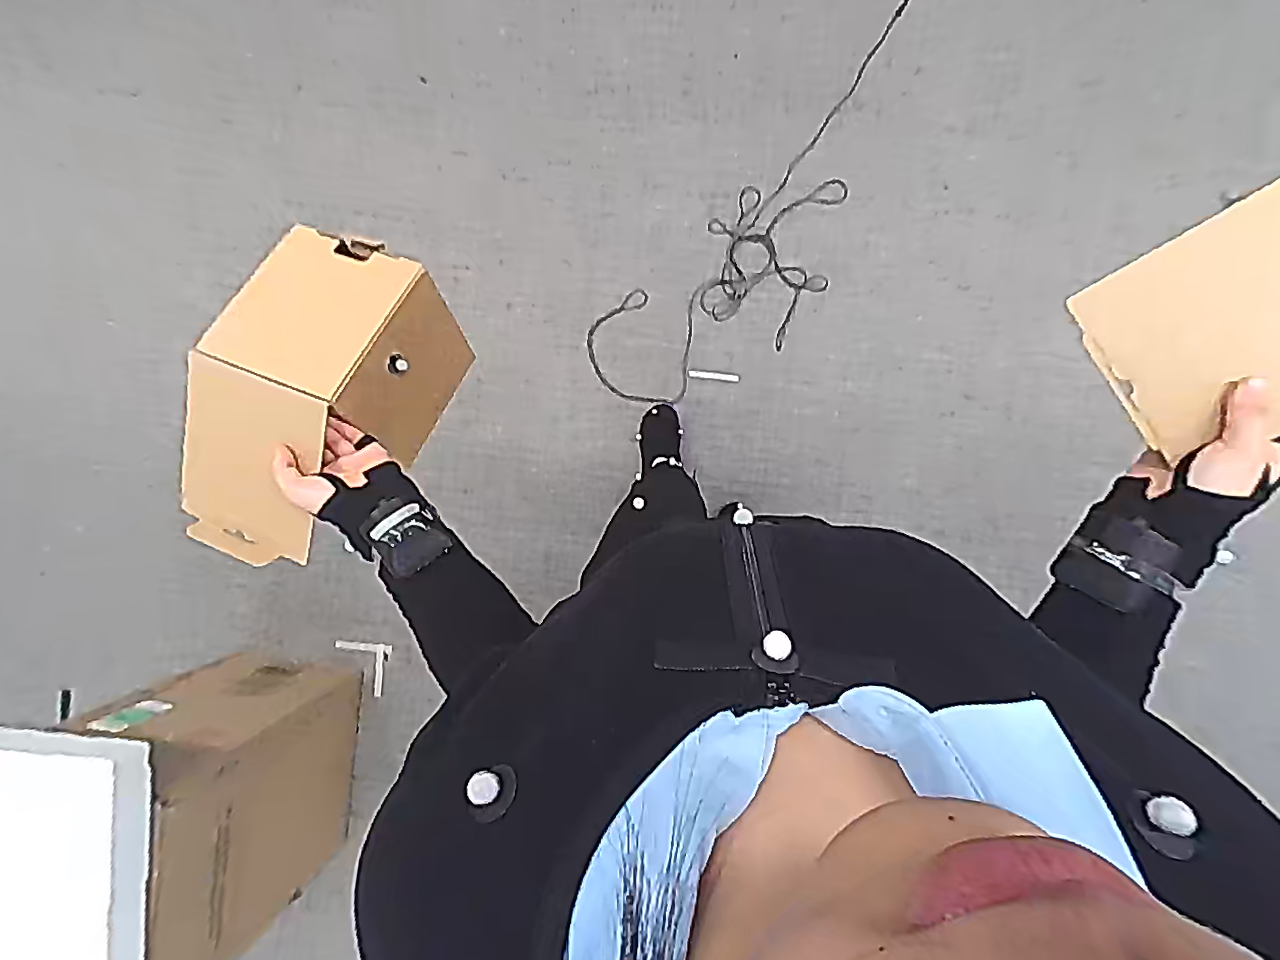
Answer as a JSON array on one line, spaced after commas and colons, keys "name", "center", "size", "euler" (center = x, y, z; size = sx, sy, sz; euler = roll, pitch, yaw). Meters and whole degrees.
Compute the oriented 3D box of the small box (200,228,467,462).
[{"name": "small box", "center": [-0.326, -0.144, 0.621], "size": [0.168, 0.176, 0.179], "euler": [20, 69, 10]}]
